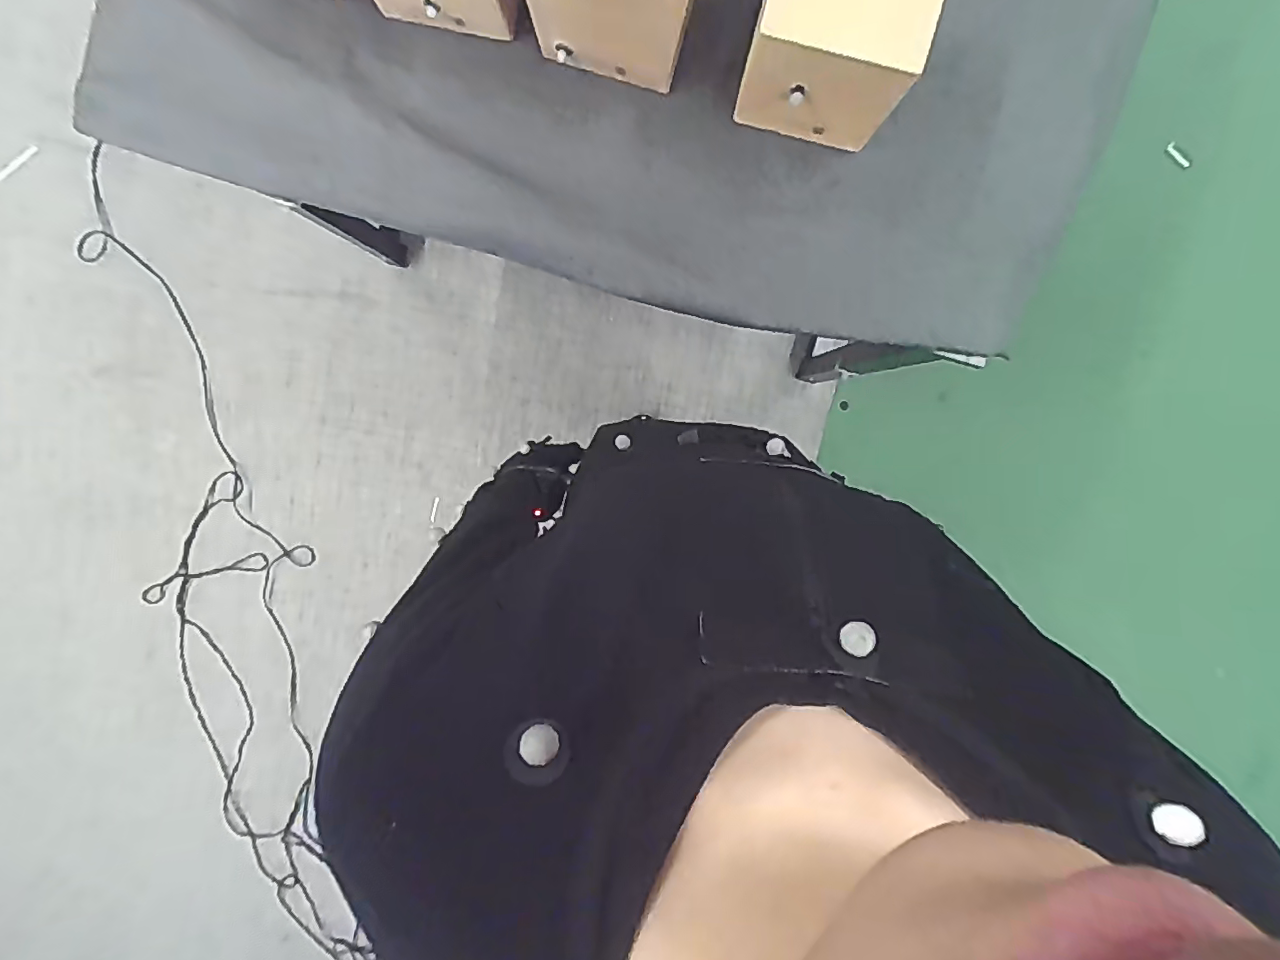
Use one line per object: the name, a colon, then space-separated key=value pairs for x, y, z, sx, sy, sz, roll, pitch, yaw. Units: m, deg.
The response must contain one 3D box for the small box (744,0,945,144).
small box: x=0.219 y=-0.505 z=0.586 sx=0.168 sy=0.176 sz=0.179 roll=14 pitch=97 yaw=0
